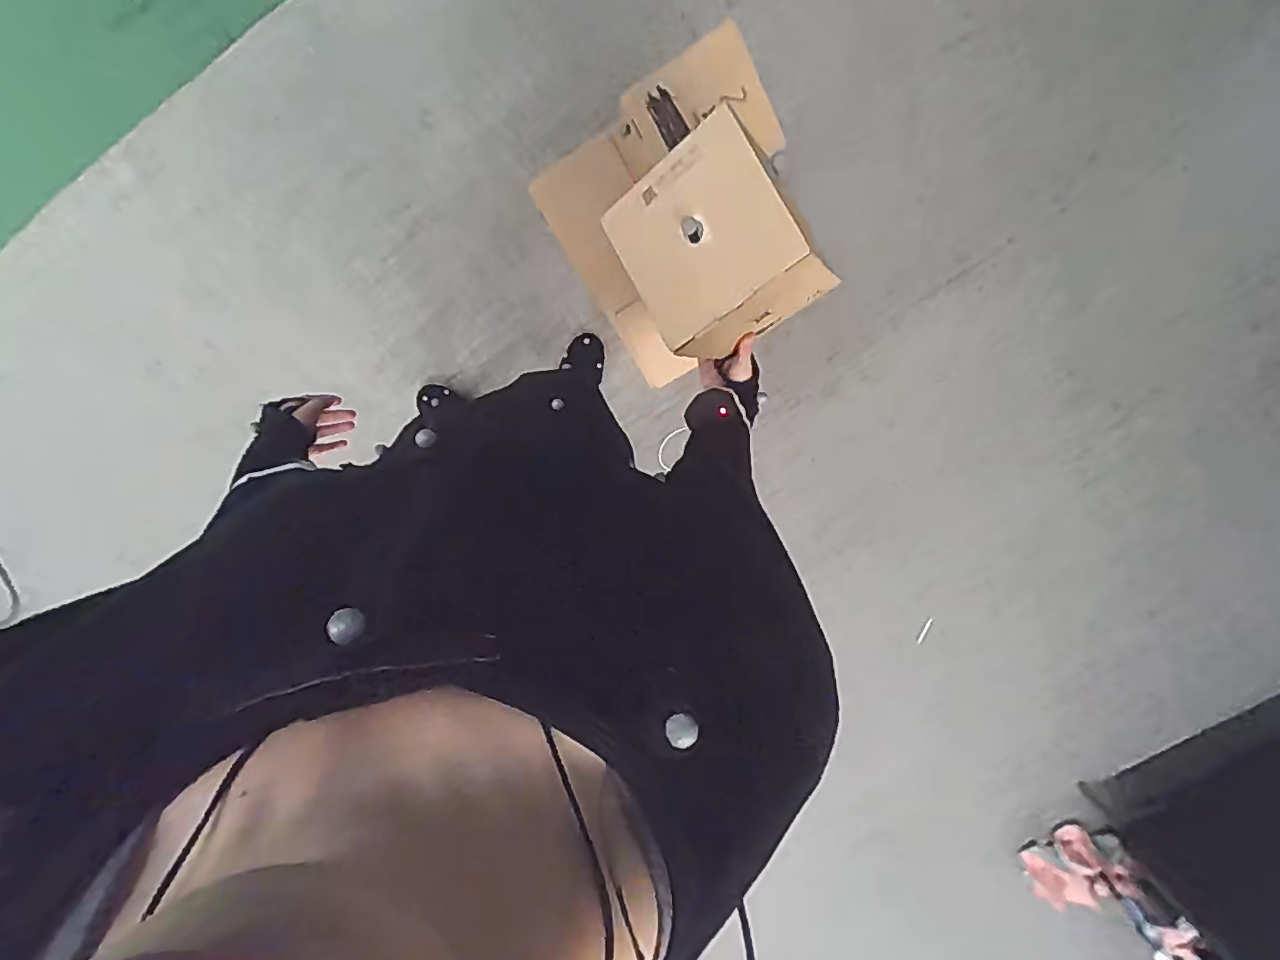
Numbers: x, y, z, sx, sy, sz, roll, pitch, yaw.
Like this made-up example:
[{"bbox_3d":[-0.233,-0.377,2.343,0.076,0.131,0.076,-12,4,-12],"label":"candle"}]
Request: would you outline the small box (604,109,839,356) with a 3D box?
[{"bbox_3d":[0.090,-0.257,0.594,0.168,0.179,0.176,-31,84,30],"label":"small box"}]
